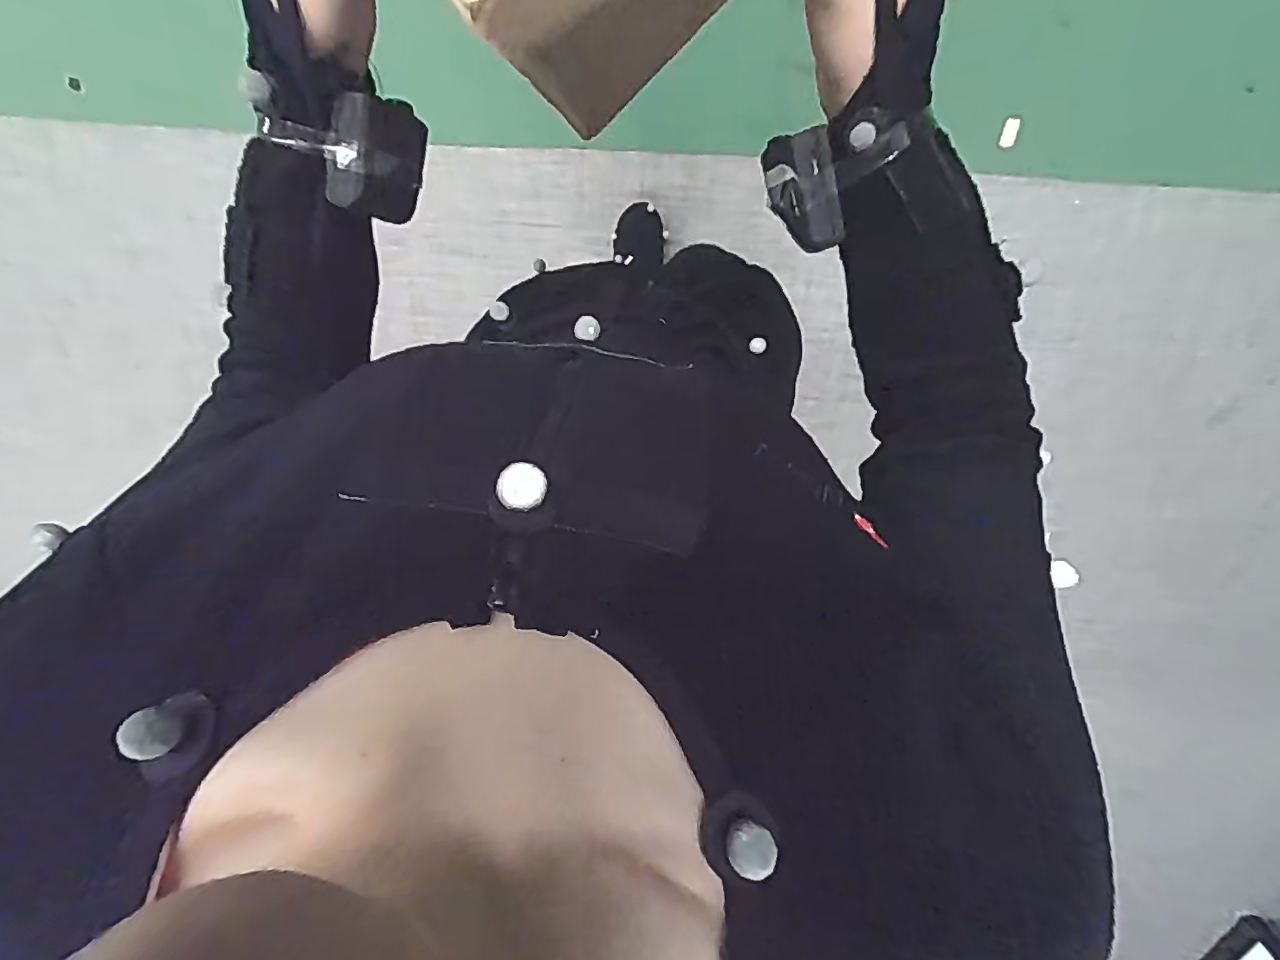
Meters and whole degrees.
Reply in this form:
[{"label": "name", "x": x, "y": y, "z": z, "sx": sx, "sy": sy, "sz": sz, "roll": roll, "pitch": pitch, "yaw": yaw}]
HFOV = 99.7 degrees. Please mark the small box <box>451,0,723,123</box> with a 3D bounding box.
[{"label": "small box", "x": -0.028, "y": -0.290, "z": 0.216, "sx": 0.179, "sy": 0.176, "sz": 0.168, "roll": -36, "pitch": 101, "yaw": 19}]
